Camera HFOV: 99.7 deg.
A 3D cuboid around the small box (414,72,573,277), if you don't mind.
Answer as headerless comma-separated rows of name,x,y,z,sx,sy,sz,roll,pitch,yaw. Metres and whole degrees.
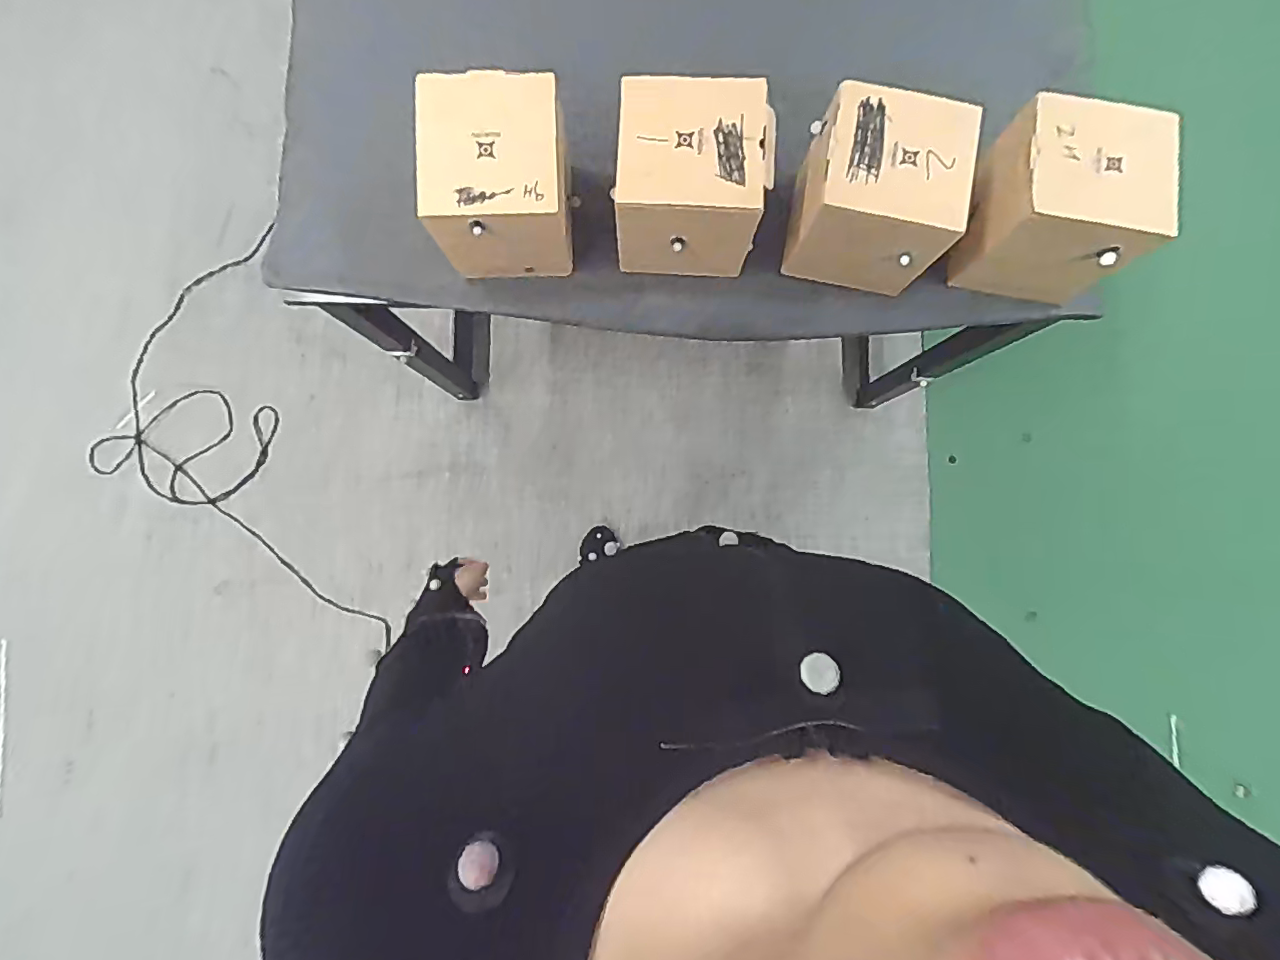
small box,-0.181,-0.389,0.711,0.168,0.176,0.179,-1,86,0
